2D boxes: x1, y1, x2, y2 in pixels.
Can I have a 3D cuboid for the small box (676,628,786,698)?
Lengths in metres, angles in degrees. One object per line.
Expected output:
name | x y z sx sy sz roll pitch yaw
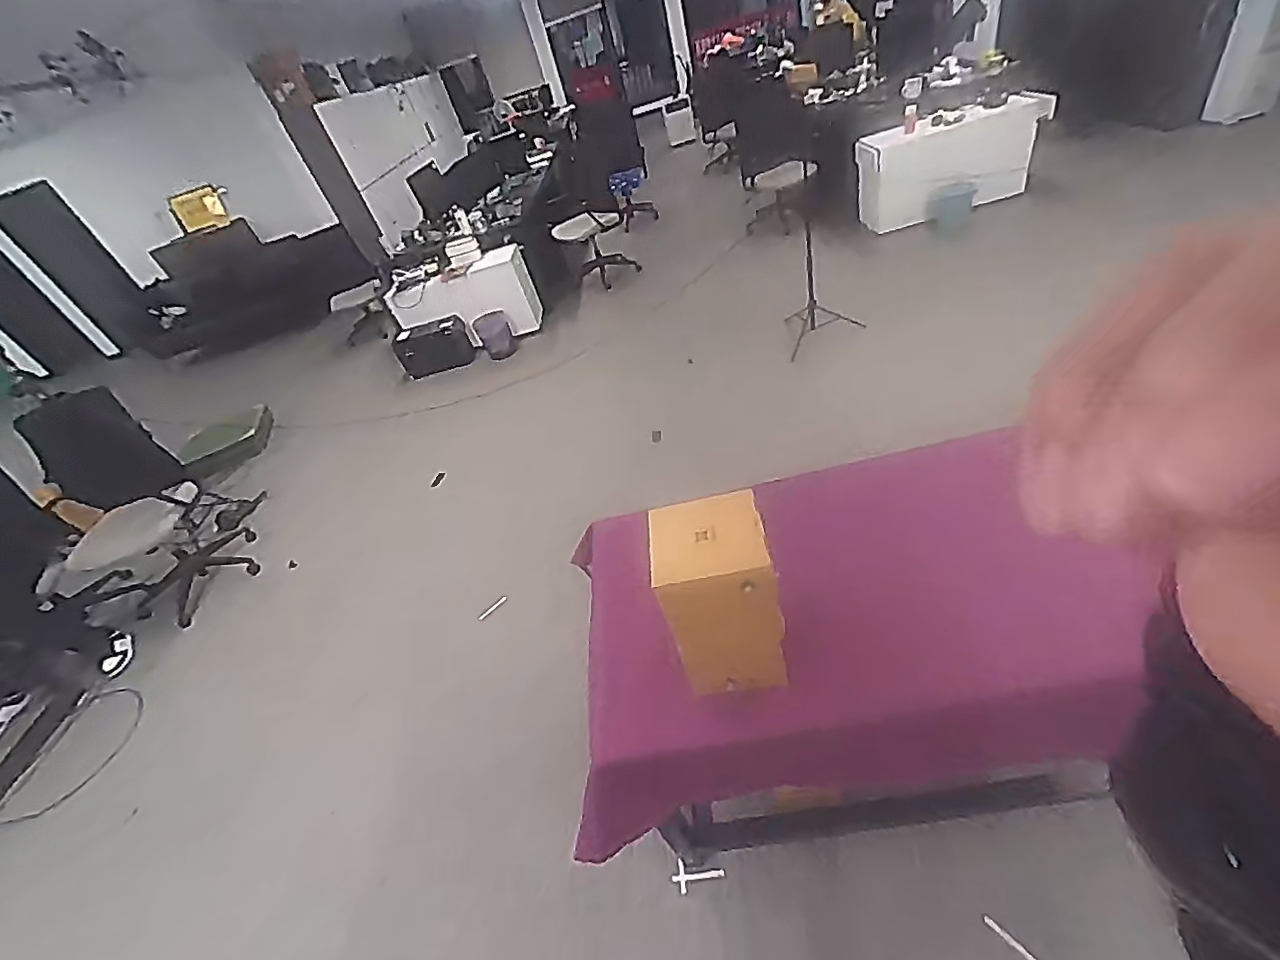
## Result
small box | 0.157 0.261 0.969 0.168 0.176 0.179 -13 40 9

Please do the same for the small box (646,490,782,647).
small box | 0.116 0.146 0.862 0.179 0.176 0.168 -13 40 10
